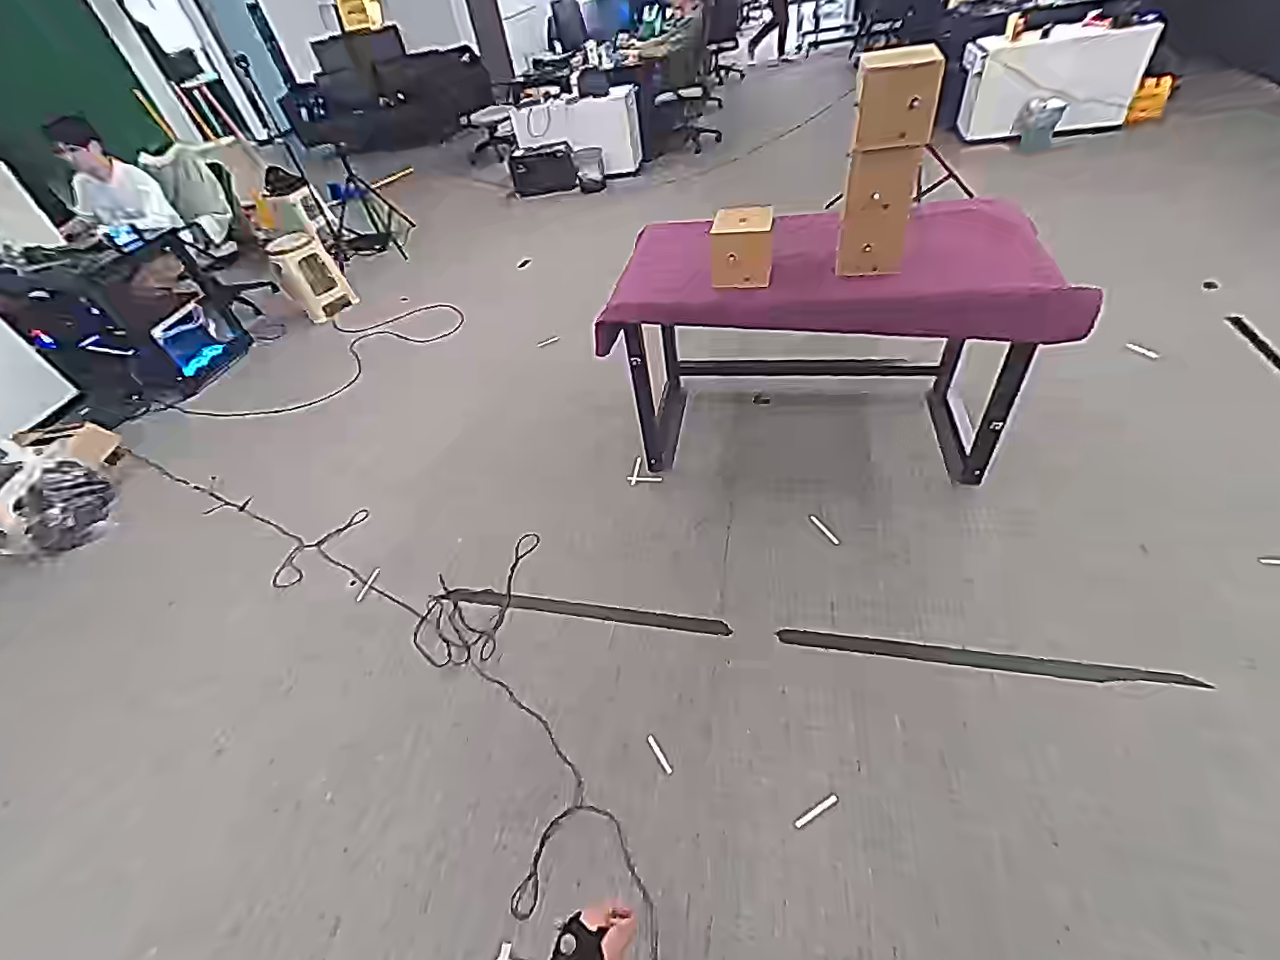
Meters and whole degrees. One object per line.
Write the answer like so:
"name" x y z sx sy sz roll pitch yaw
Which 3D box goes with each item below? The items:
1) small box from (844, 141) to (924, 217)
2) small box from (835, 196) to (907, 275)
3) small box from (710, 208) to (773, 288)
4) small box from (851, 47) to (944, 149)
"small box" 0.637 -0.816 1.432 0.168 0.176 0.179 5 48 16
"small box" 0.656 -0.700 1.546 0.168 0.176 0.179 5 47 16
"small box" 0.305 -0.683 1.601 0.168 0.176 0.179 4 45 14
"small box" 0.611 -0.914 1.303 0.168 0.176 0.179 3 46 13
